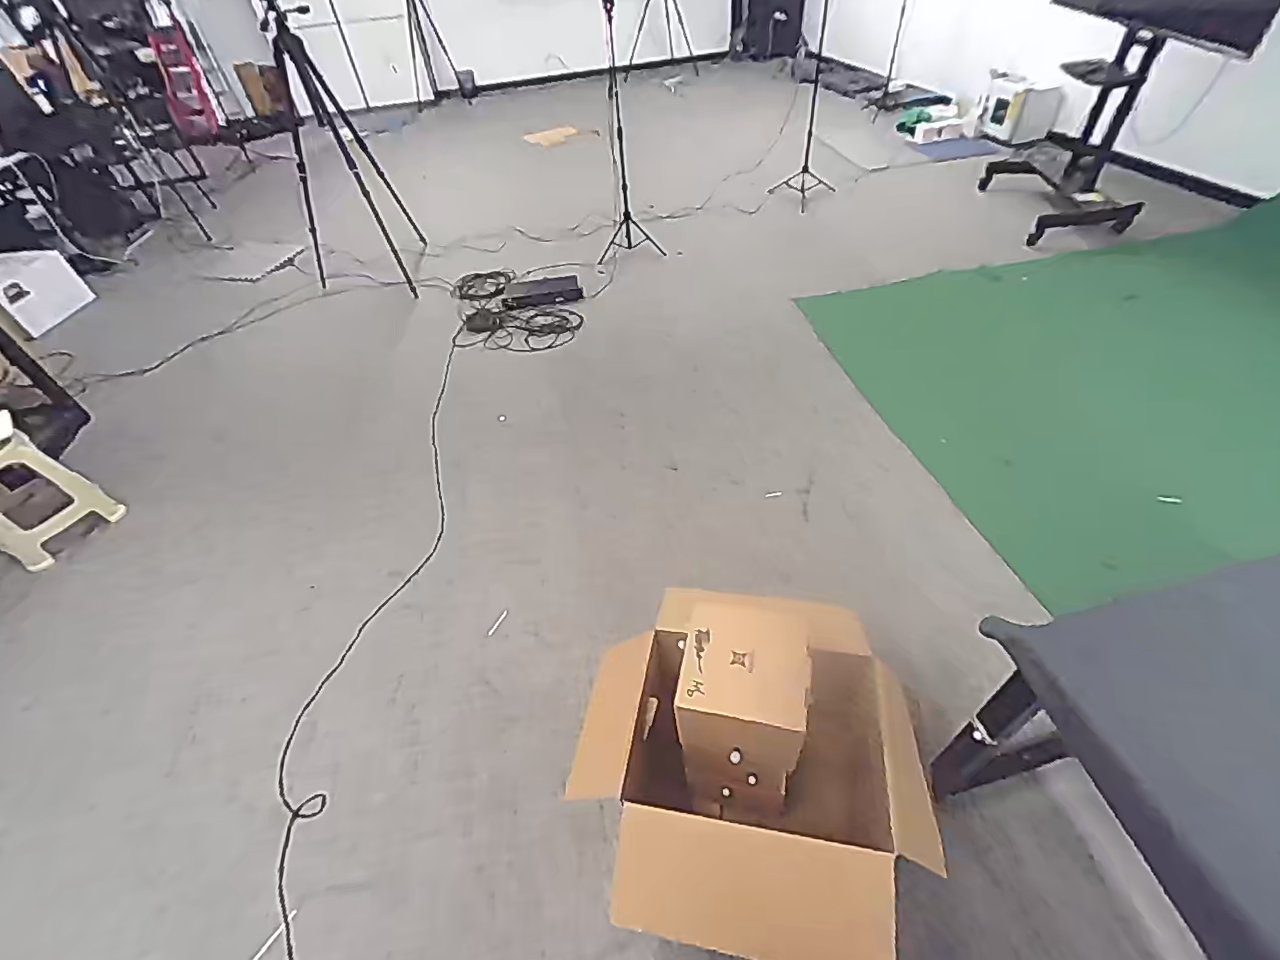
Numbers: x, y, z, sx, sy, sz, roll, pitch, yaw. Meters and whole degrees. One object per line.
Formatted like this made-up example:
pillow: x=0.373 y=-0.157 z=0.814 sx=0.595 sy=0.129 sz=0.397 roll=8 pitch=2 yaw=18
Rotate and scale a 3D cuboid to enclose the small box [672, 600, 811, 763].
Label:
small box: x=0.154 y=0.308 z=0.820 sx=0.179 sy=0.176 sz=0.168 roll=7 pitch=48 yaw=14
